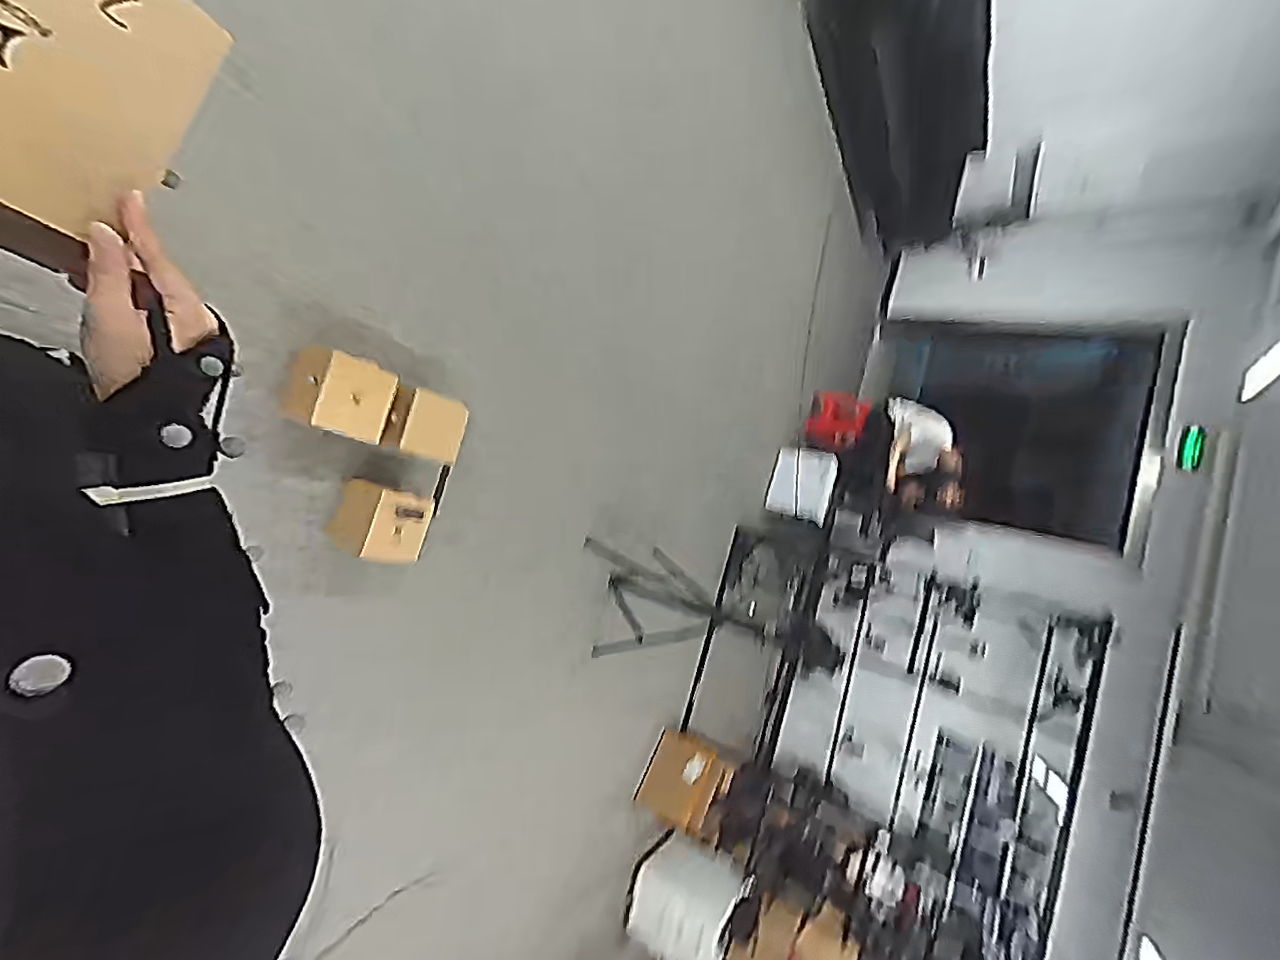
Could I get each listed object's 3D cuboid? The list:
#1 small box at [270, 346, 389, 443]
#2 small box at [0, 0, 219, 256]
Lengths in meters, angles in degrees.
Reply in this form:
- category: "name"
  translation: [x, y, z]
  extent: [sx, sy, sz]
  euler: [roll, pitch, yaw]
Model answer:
- category: "small box"
  translation: [-0.748, -0.205, 1.297]
  extent: [0.168, 0.176, 0.179]
  euler: [26, 79, -58]
- category: "small box"
  translation: [-0.410, -0.257, 0.326]
  extent: [0.168, 0.176, 0.179]
  euler: [30, 74, -56]
